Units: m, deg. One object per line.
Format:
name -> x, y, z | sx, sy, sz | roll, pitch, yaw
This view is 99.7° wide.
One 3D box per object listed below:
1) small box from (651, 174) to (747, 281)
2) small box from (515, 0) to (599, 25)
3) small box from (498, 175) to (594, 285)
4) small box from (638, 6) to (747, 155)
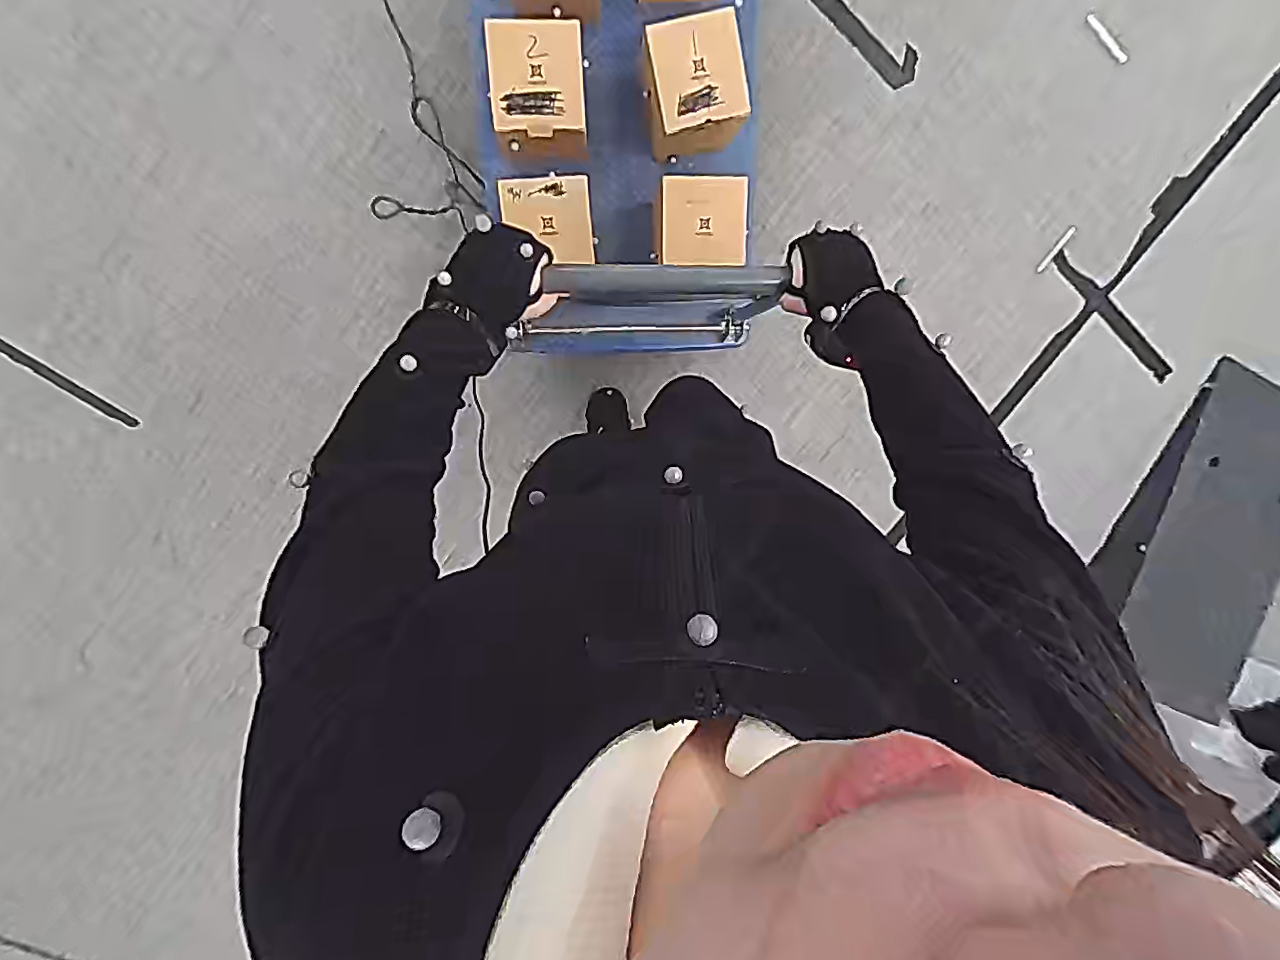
small box -> 0.115, -0.511, 1.118 | 0.168, 0.176, 0.179 | -2, 103, -6
small box -> -0.156, -0.979, 0.978 | 0.168, 0.176, 0.179 | -1, 104, -5
small box -> -0.181, -0.494, 1.091 | 0.168, 0.176, 0.179 | -6, 104, -5
small box -> 0.096, -0.761, 1.055 | 0.168, 0.176, 0.179 | -14, 103, -2
